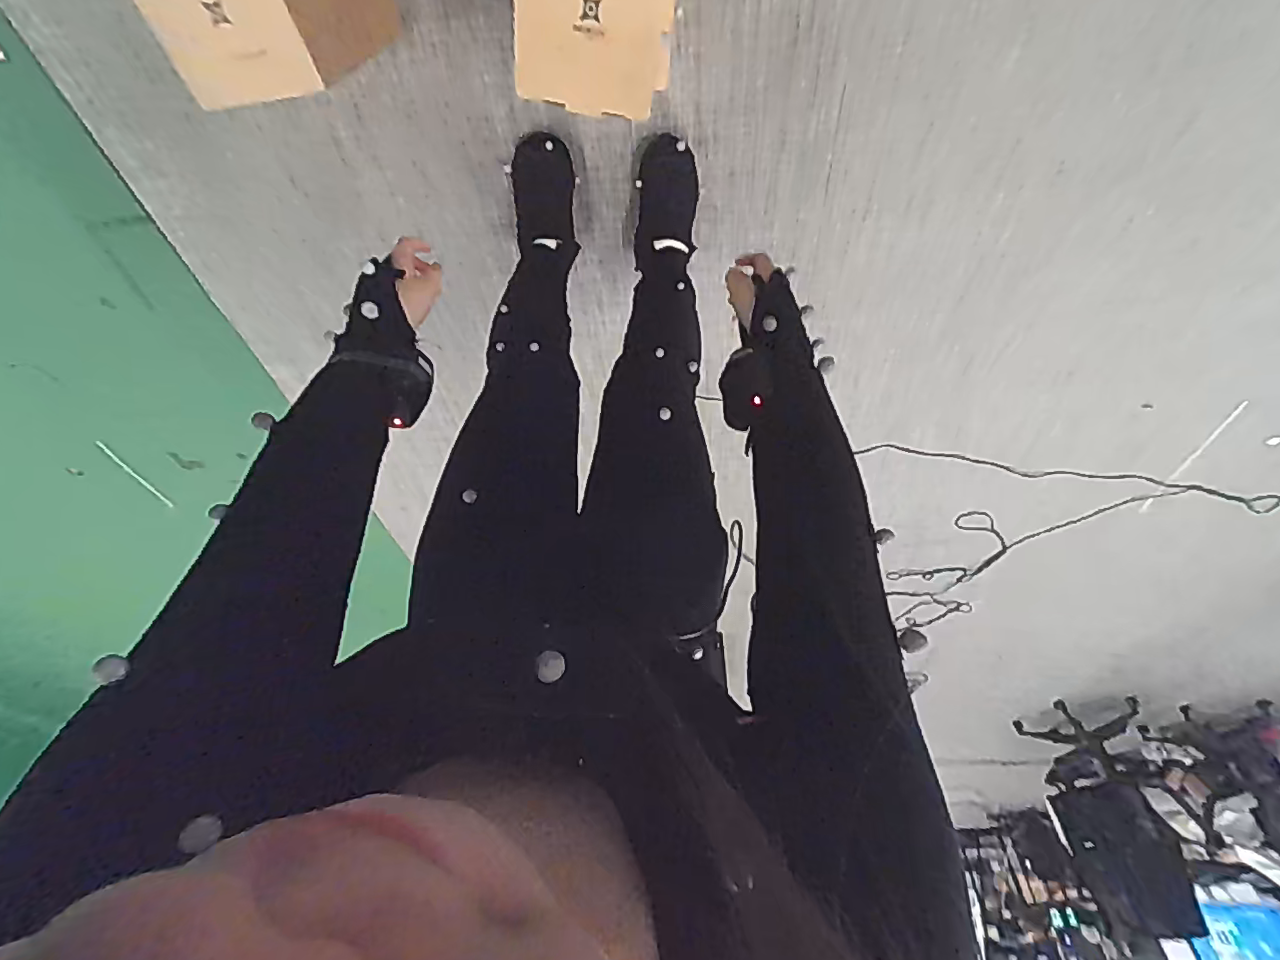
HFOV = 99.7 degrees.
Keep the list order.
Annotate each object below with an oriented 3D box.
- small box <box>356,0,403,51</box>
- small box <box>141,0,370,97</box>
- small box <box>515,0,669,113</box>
[{"bbox_3d":[-0.457,-0.700,0.737,0.168,0.176,0.179,-5,139,7],"label":"small box"},{"bbox_3d":[-0.453,-0.581,0.626,0.168,0.176,0.179,-4,139,8],"label":"small box"},{"bbox_3d":[-0.050,-0.570,0.631,0.168,0.176,0.179,7,140,-7],"label":"small box"}]
